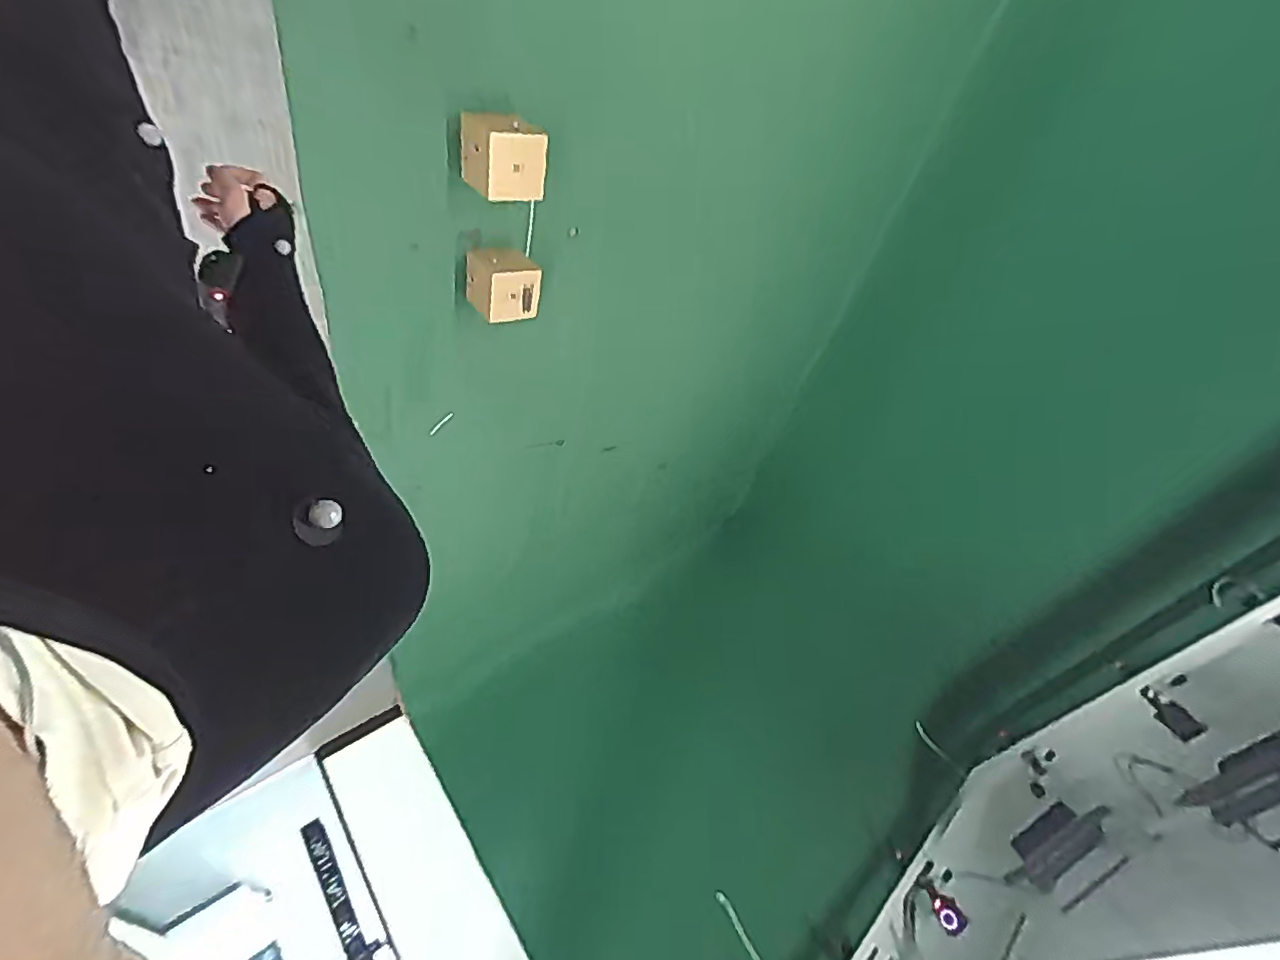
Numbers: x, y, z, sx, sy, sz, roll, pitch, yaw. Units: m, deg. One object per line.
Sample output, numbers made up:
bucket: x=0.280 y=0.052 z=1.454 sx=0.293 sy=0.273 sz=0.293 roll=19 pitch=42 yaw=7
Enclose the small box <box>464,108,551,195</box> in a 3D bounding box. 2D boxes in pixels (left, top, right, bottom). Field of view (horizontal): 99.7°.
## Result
small box: x=-0.370 y=-0.900 z=1.485 sx=0.179 sy=0.176 sz=0.168 roll=-23 pitch=146 yaw=-35
